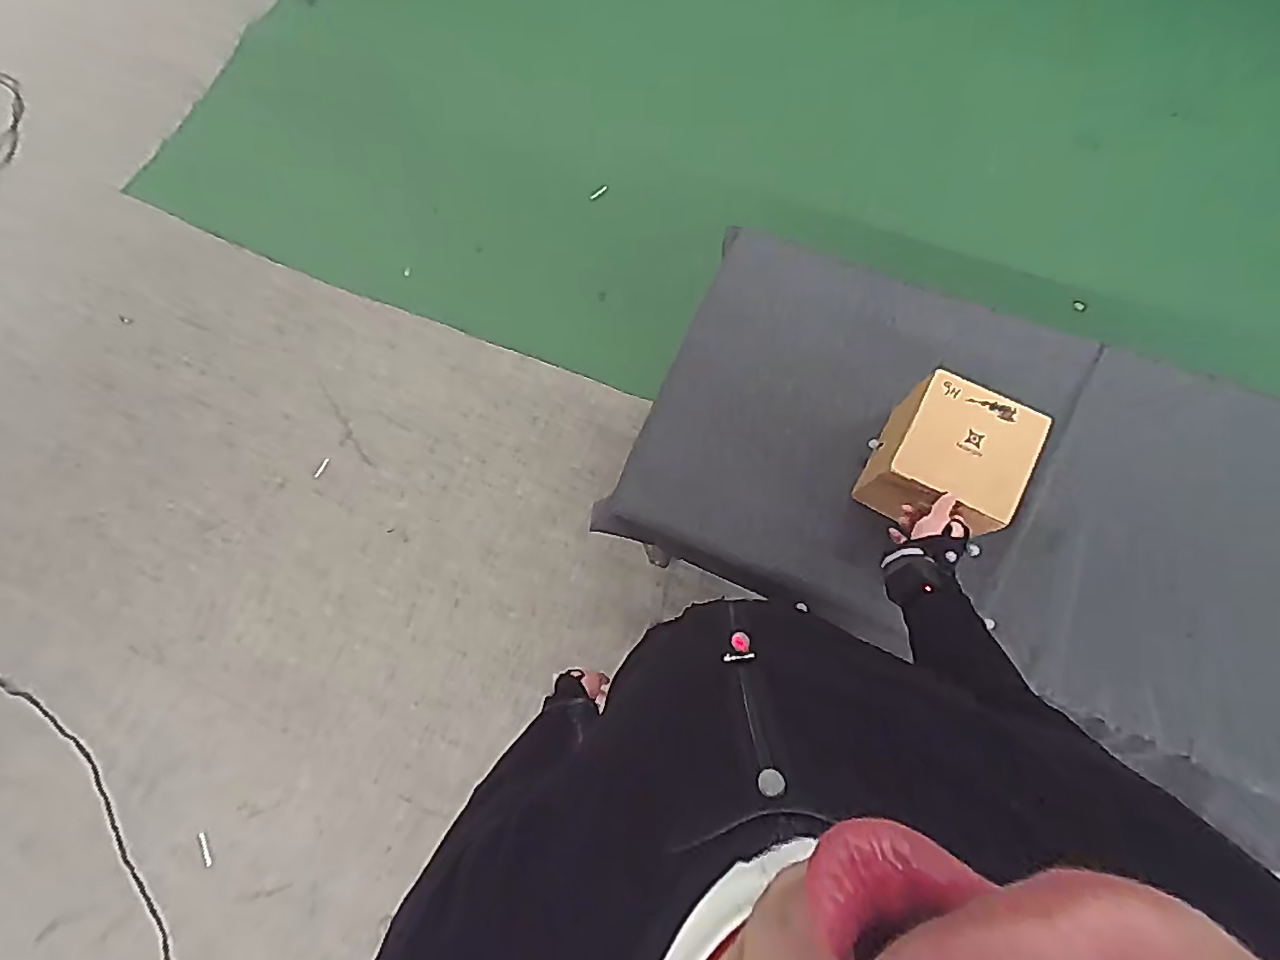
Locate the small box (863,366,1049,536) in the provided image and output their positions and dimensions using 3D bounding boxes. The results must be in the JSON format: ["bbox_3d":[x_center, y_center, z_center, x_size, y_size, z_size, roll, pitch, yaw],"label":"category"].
[{"bbox_3d":[0.459,-0.033,0.815,0.168,0.176,0.179,26,77,12],"label":"small box"}]
